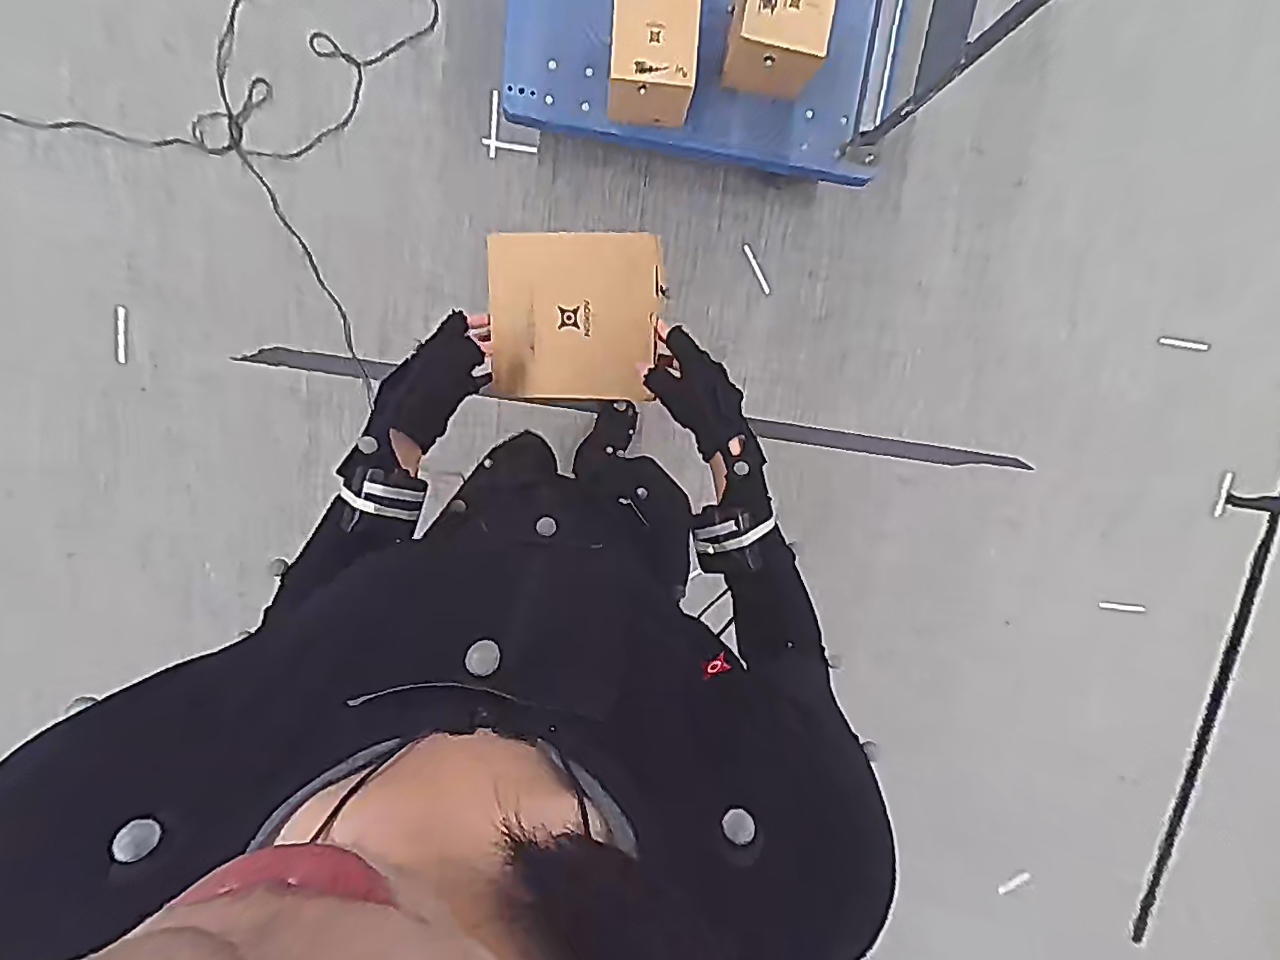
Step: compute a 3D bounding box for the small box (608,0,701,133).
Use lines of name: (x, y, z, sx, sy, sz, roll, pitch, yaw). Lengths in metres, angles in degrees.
small box: (0.022, -0.854, 1.107, 0.168, 0.176, 0.179, 3, 98, -5)

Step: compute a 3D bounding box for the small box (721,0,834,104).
small box: (0.278, -0.919, 1.117, 0.179, 0.176, 0.168, 9, 98, -6)

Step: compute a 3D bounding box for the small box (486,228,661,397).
small box: (-0.066, -0.183, 0.631, 0.179, 0.176, 0.168, 2, 99, 4)
